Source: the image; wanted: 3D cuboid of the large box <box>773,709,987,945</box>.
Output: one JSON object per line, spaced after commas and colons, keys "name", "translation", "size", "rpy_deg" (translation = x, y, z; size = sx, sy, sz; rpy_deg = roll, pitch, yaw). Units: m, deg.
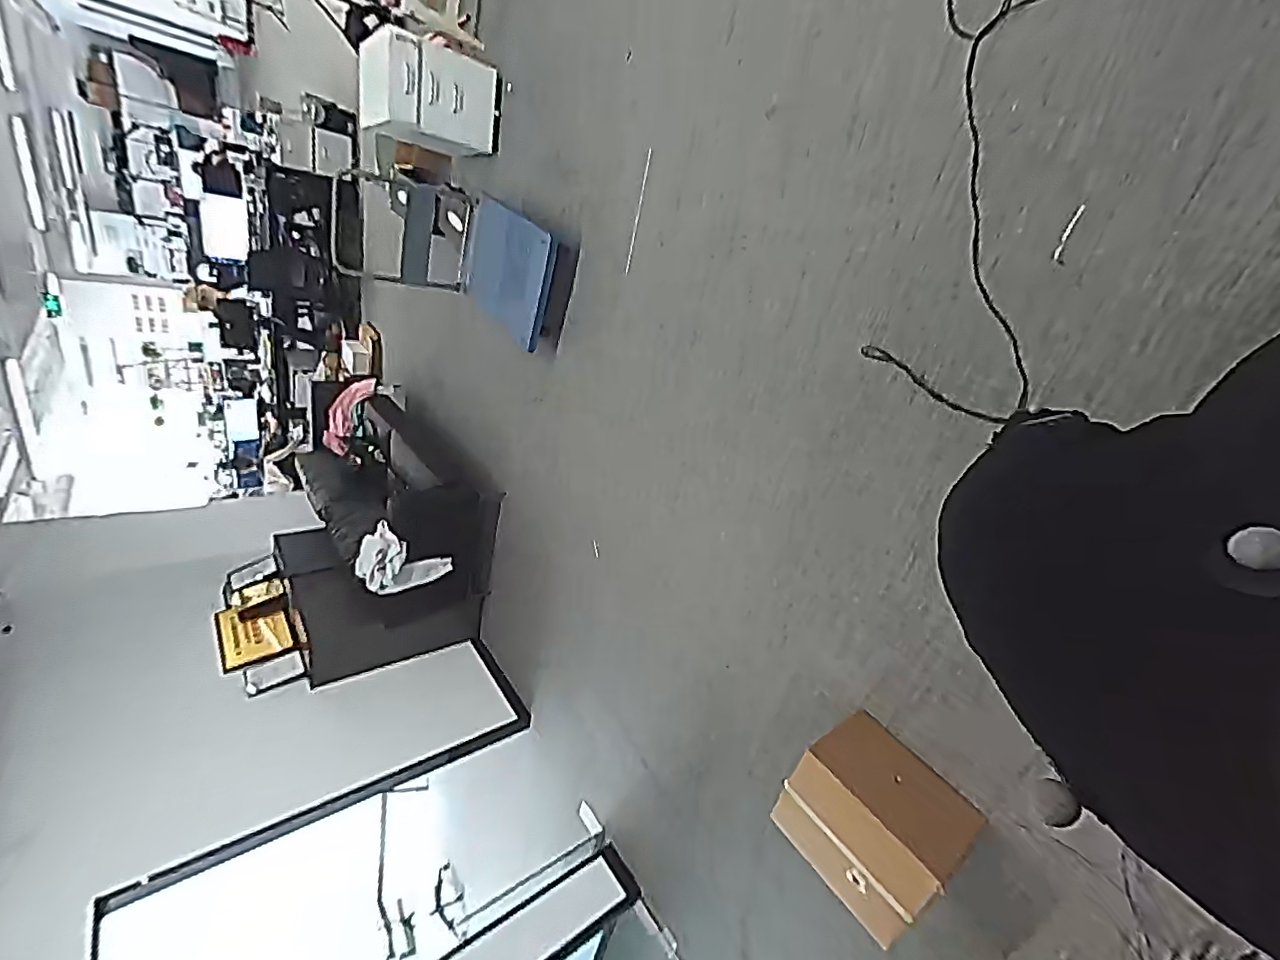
{"name": "large box", "translation": [0.666, 0.948, 1.535], "size": [0.408, 0.320, 0.320], "rpy_deg": [37, 123, 39]}
